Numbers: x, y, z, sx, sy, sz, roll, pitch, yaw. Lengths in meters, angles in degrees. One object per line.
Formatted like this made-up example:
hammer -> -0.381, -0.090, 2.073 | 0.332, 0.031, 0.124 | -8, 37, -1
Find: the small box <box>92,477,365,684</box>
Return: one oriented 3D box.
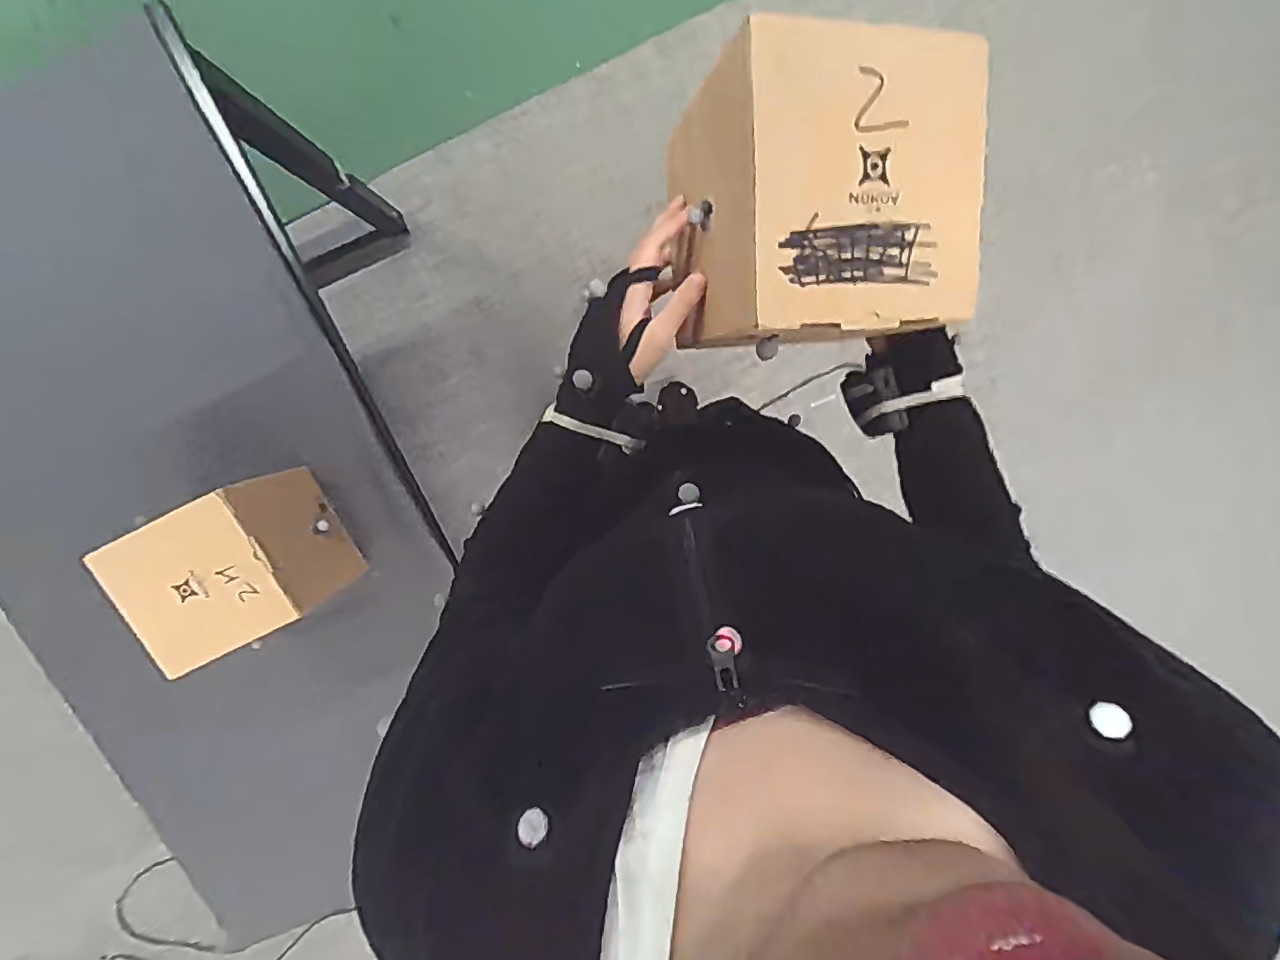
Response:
small box -> -0.492, 0.113, 0.678 | 0.179, 0.176, 0.168 | -26, 100, 3
